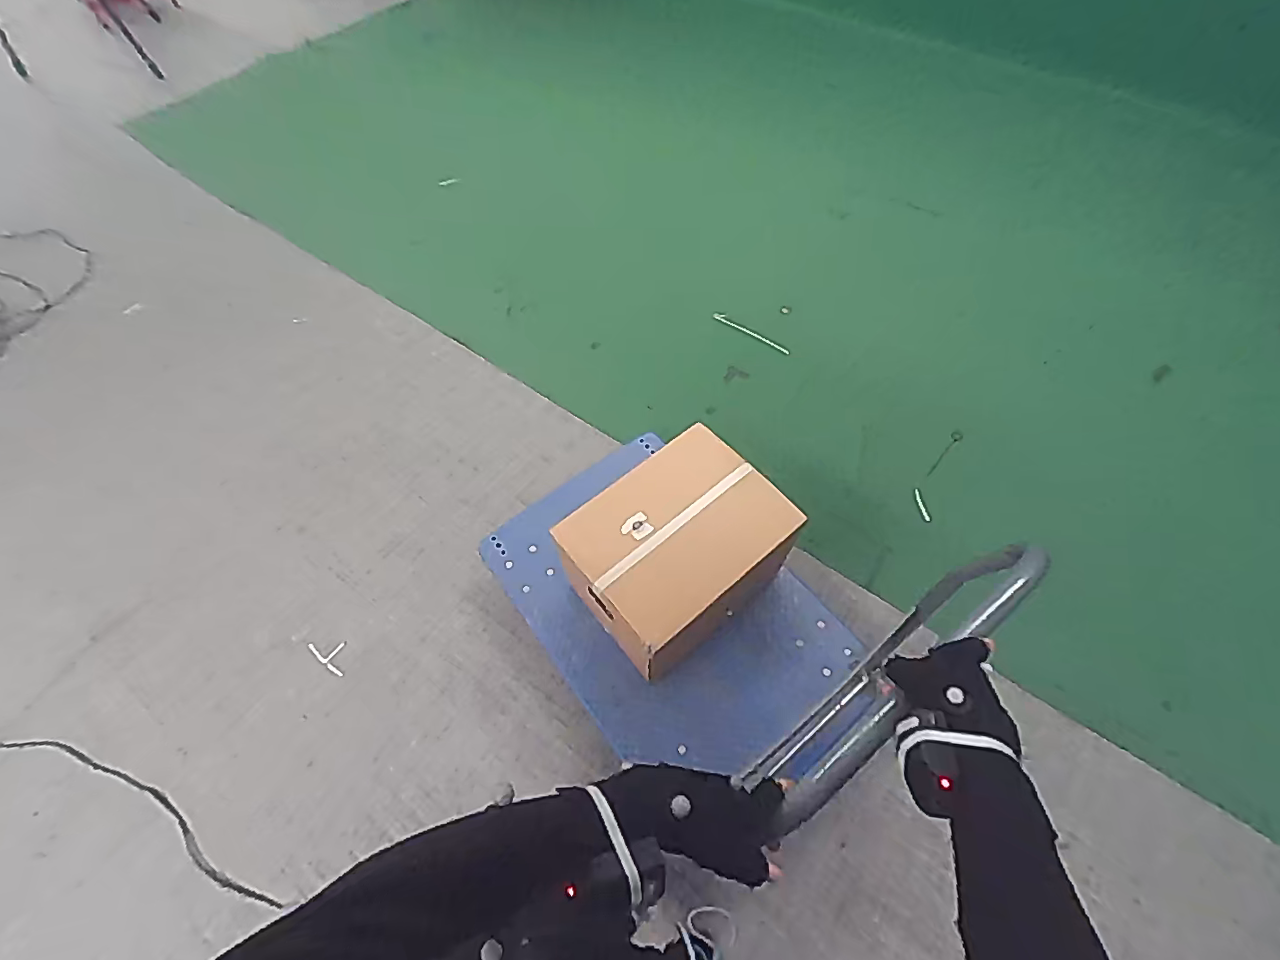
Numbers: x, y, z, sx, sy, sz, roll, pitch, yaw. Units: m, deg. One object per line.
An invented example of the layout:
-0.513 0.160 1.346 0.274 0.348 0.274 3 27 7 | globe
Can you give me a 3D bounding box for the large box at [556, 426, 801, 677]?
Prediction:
0.083 0.164 1.201 0.408 0.320 0.320 -38 66 -17 | large box
